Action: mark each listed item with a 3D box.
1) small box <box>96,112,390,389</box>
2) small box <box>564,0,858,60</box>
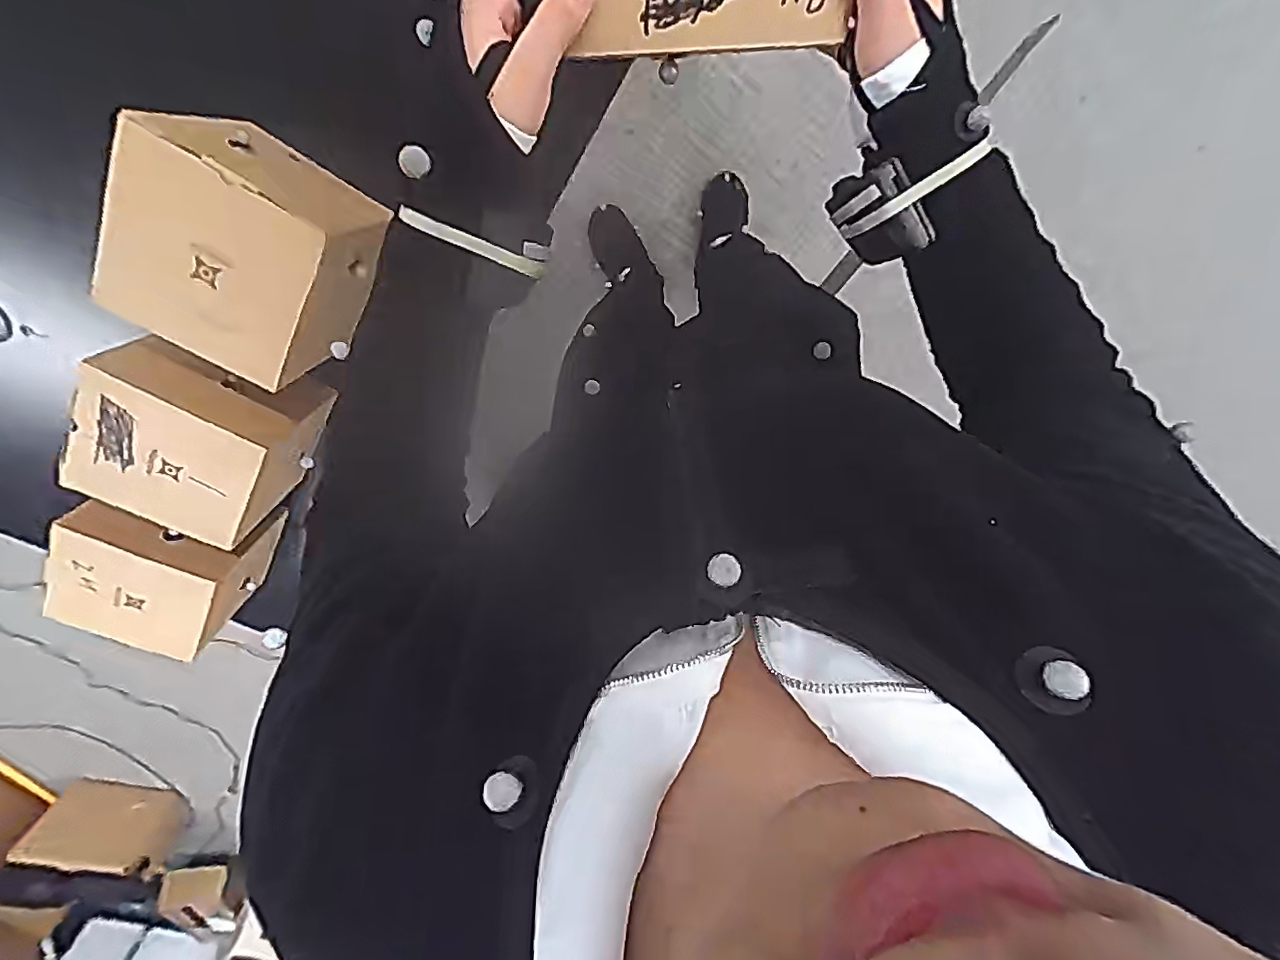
[{"bbox_3d":[-0.380,-0.229,0.547,0.168,0.176,0.179,29,117,-16],"label":"small box"},{"bbox_3d":[0.032,-0.362,0.319,0.168,0.176,0.179,-4,129,-2],"label":"small box"}]
